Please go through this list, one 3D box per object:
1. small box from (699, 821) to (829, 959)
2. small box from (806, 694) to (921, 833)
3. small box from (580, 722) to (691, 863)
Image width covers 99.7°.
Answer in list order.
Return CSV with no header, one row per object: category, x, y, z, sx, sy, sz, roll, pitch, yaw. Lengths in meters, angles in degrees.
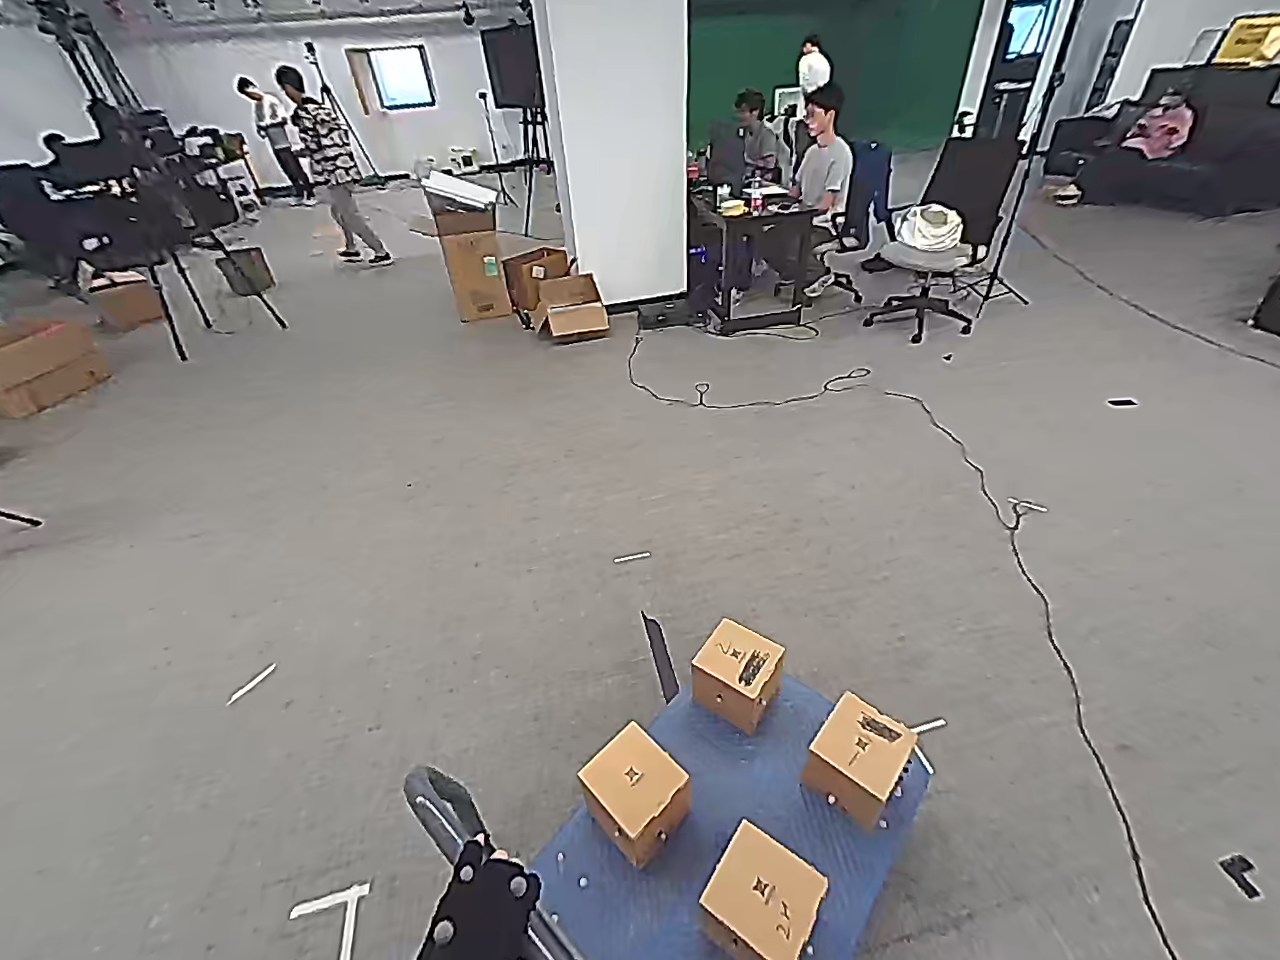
small box,0.224,0.791,1.001,0.179,0.176,0.168,23,46,31
small box,0.482,0.622,1.189,0.168,0.176,0.179,28,49,35
small box,-0.008,0.676,1.171,0.168,0.176,0.179,-32,47,-31
